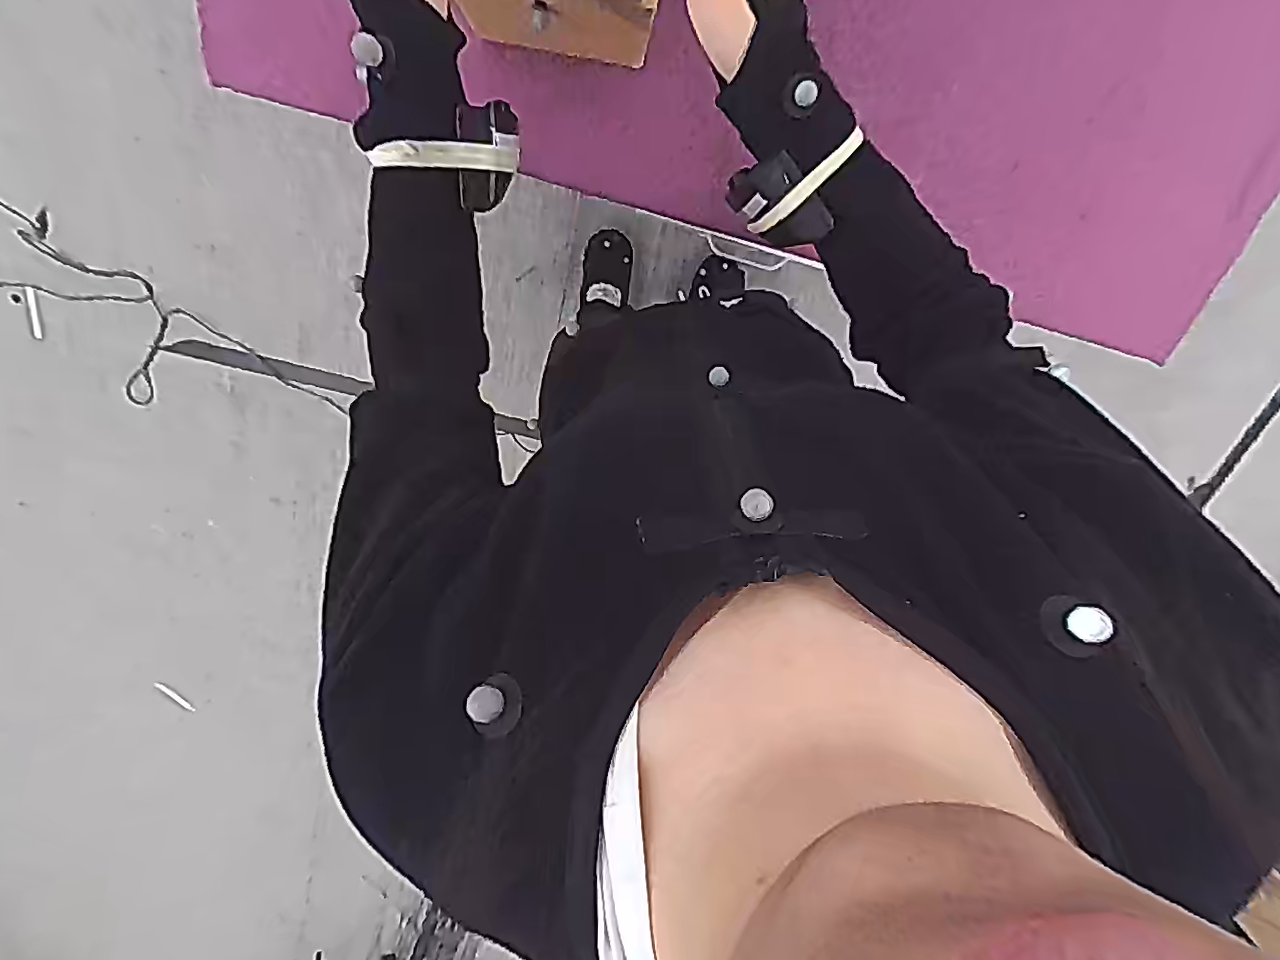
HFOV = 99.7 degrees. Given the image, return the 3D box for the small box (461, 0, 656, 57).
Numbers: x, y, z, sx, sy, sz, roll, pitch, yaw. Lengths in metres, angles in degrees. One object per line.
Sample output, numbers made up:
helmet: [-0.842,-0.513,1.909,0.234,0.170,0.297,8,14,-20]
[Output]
small box: [-0.065,-0.492,0.461,0.179,0.176,0.168,7,115,-5]
